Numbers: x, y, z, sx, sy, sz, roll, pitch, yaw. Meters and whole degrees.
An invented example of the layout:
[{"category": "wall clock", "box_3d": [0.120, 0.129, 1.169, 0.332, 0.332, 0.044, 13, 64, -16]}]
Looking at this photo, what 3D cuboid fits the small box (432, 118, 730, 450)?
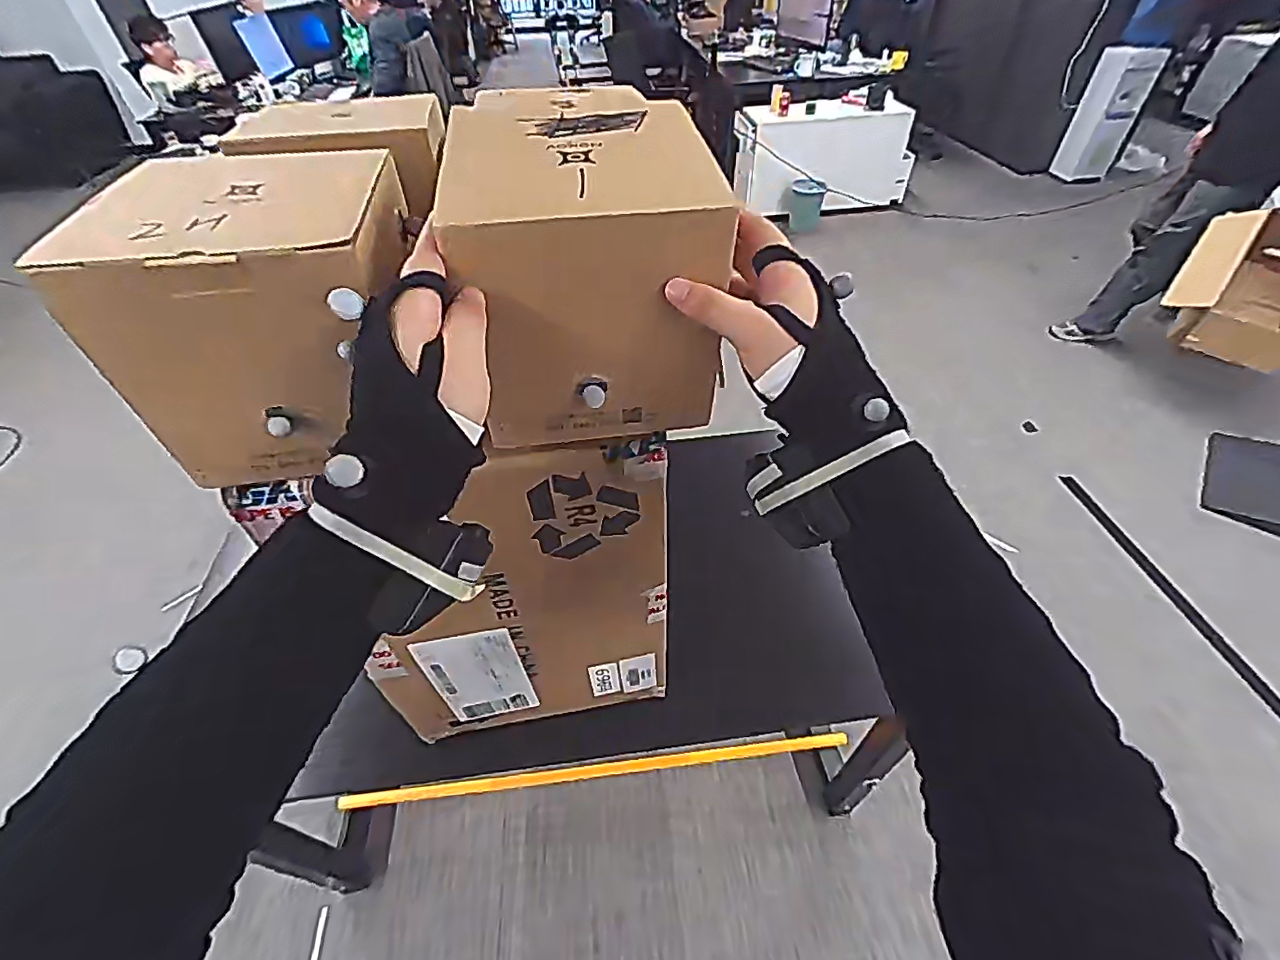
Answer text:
[{"category": "small box", "box_3d": [-0.042, -0.146, 0.406, 0.168, 0.176, 0.179, -8, 50, -6]}]
